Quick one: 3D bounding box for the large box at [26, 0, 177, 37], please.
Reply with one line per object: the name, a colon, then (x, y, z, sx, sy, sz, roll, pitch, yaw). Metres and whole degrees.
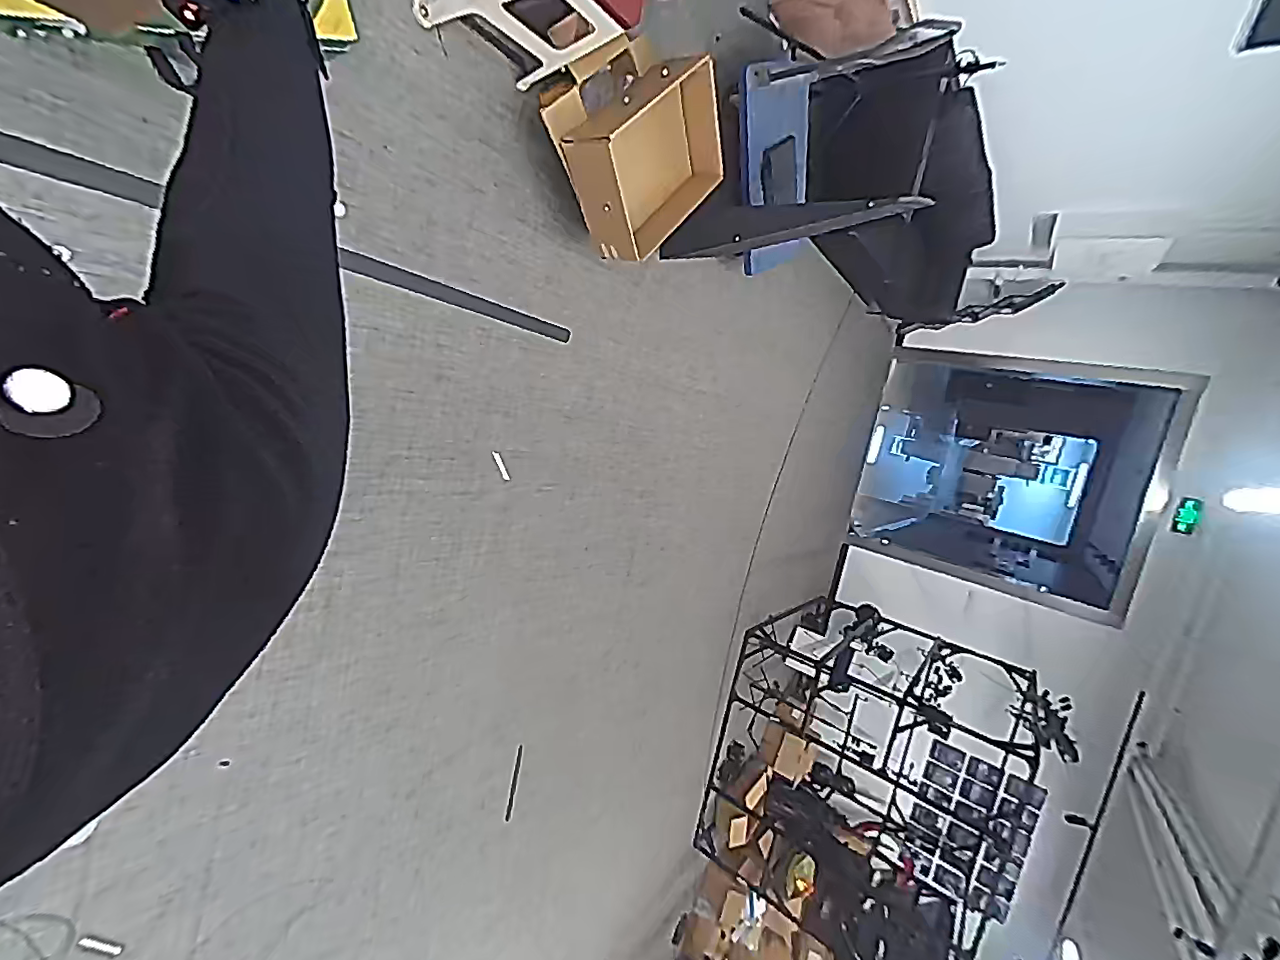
large box: (-0.519, -0.555, 0.299, 0.408, 0.320, 0.320, -2, 111, -55)
